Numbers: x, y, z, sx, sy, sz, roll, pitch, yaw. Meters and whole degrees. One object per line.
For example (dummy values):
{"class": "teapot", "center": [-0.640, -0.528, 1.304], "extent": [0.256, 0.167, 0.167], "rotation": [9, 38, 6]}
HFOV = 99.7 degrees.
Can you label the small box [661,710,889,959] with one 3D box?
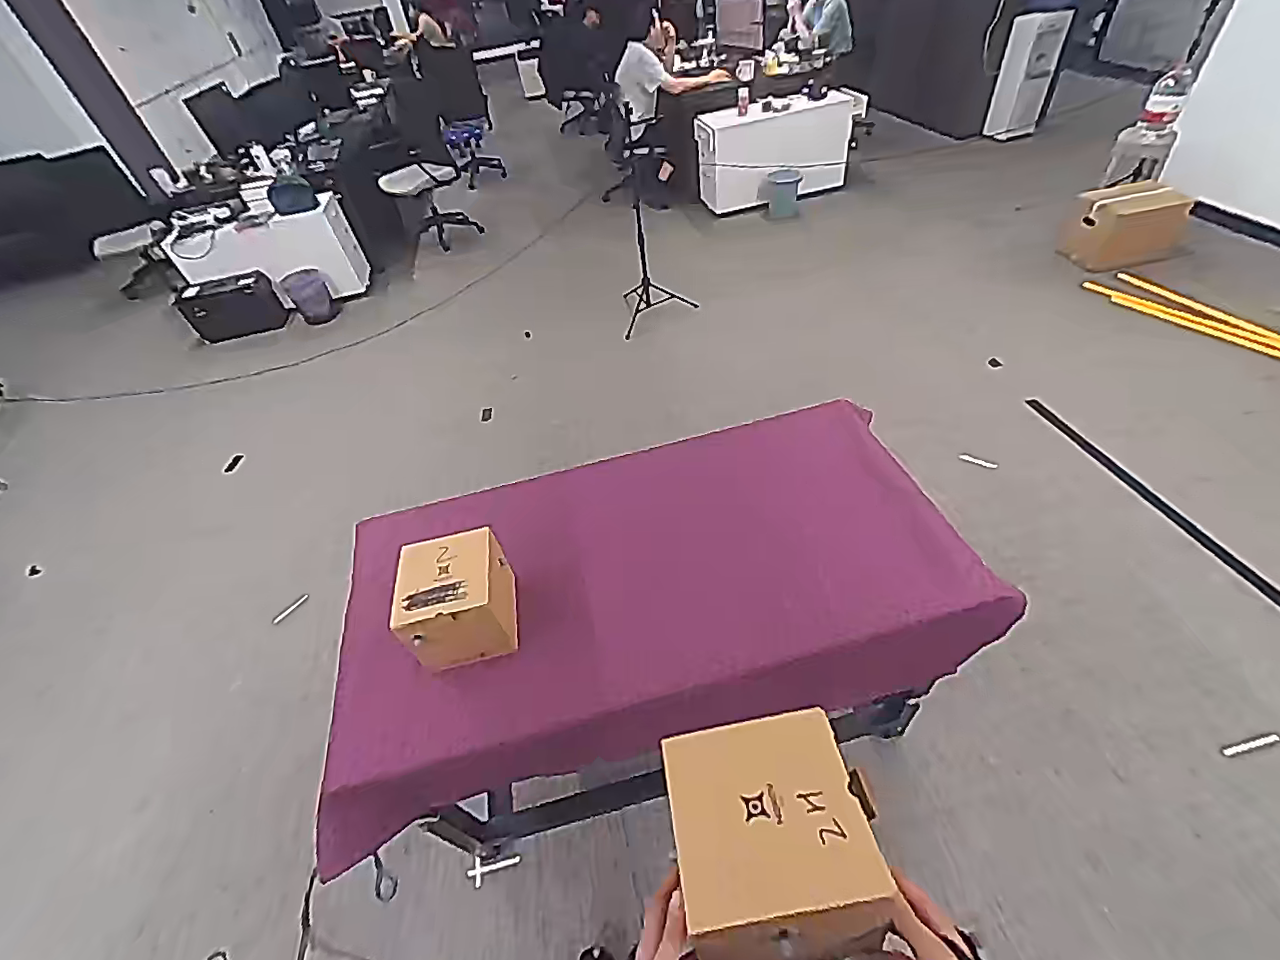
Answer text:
{"class": "small box", "center": [0.128, 0.369, 0.552], "extent": [0.179, 0.176, 0.168], "rotation": [-11, 36, 1]}
